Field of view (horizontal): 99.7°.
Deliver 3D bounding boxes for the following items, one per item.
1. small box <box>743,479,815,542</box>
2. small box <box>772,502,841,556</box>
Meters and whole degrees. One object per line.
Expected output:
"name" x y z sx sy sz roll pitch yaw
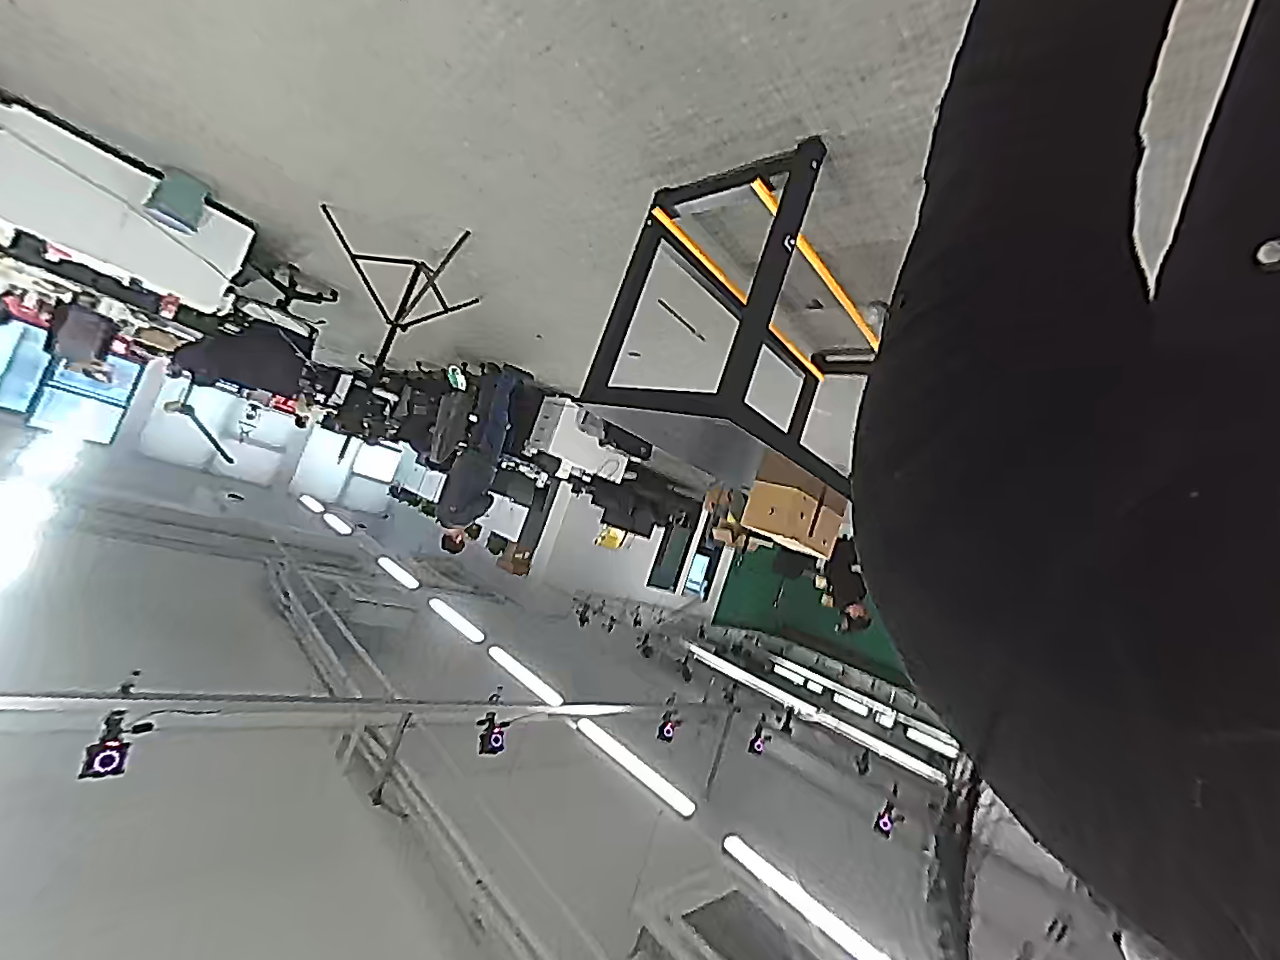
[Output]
"small box" 0.490 0.104 1.886 0.179 0.176 0.168 14 172 45
"small box" 0.631 0.169 2.034 0.179 0.176 0.168 26 172 -42
